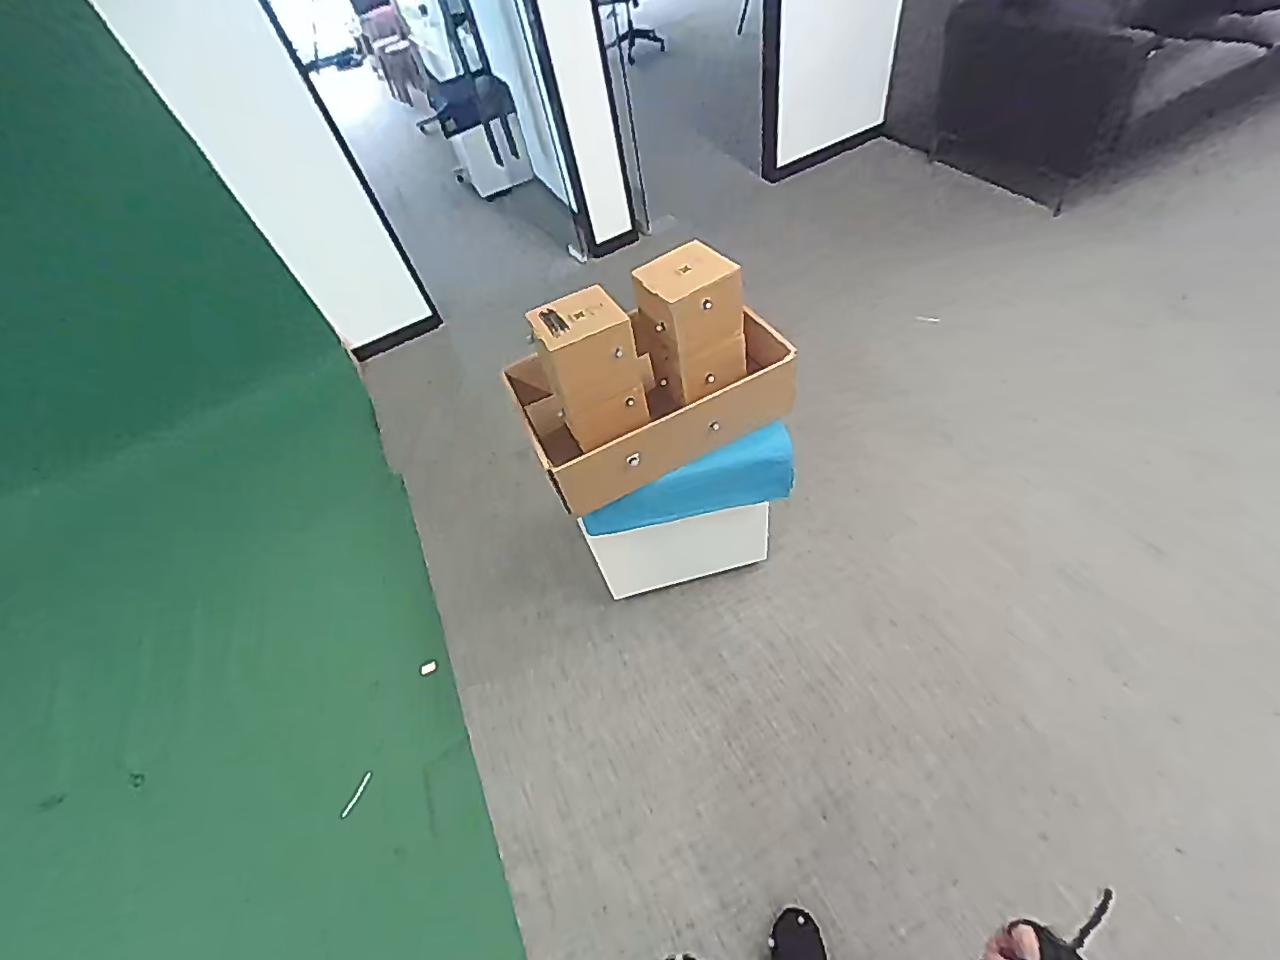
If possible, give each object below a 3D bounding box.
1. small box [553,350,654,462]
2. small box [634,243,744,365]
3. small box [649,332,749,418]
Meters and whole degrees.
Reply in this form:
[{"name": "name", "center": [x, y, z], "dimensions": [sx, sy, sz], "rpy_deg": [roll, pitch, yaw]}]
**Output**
[{"name": "small box", "center": [-0.082, -0.172, 1.286], "dimensions": [0.179, 0.176, 0.168], "rpy_deg": [-26, 50, -10]}, {"name": "small box", "center": [0.113, -0.383, 1.190], "dimensions": [0.179, 0.176, 0.168], "rpy_deg": [-30, 51, -10]}, {"name": "small box", "center": [0.149, -0.283, 1.314], "dimensions": [0.179, 0.176, 0.168], "rpy_deg": [-30, 51, -9]}]
